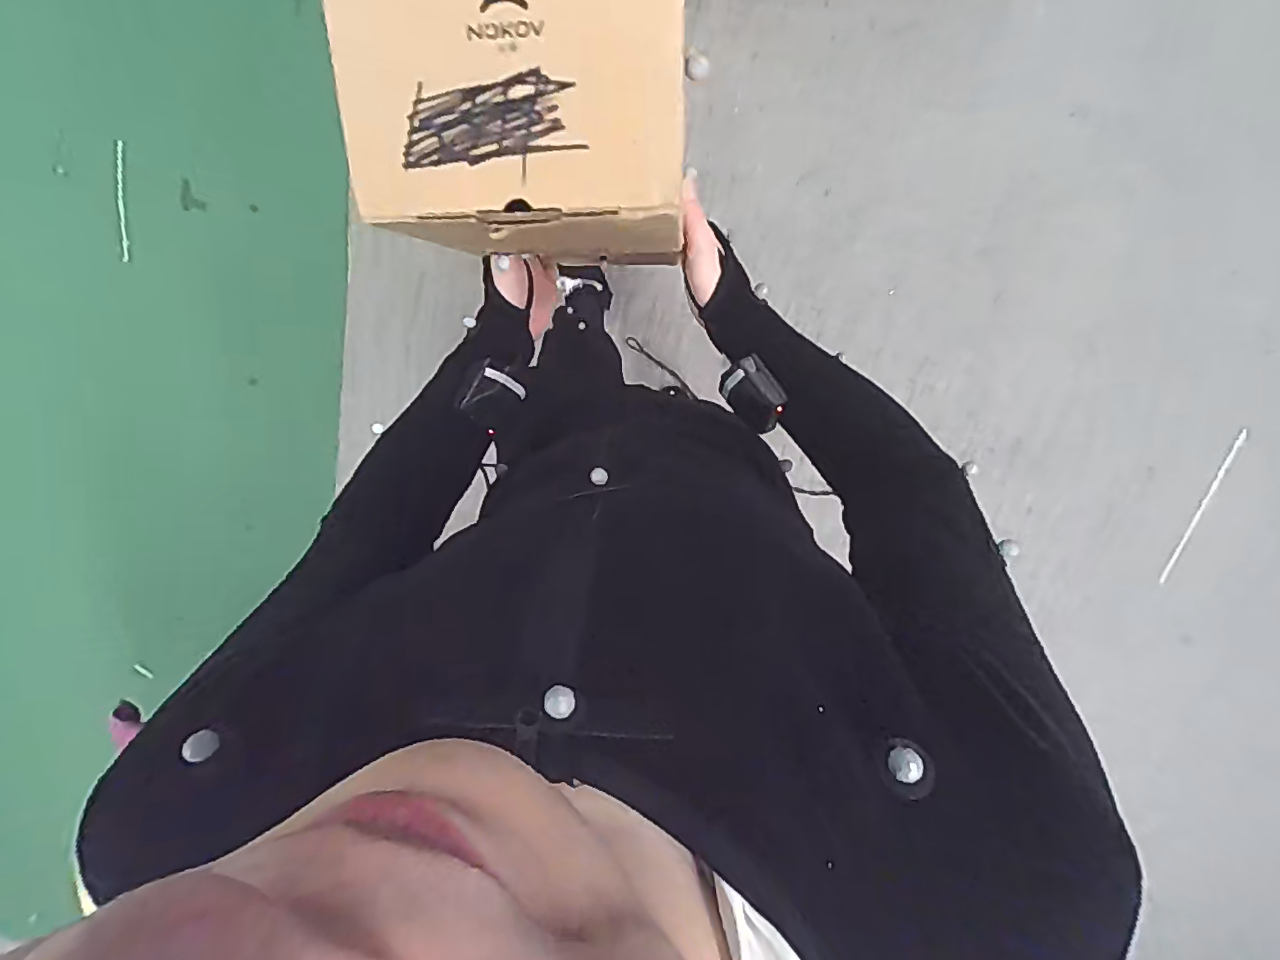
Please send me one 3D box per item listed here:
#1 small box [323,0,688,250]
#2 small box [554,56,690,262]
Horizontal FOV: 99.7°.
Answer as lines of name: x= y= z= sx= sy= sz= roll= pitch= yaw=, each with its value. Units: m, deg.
small box: x=-0.057 y=-0.236 z=0.318 sx=0.168 sy=0.176 sz=0.179 roll=1 pitch=107 yaw=4
small box: x=-0.031 y=-0.355 z=0.624 sx=0.168 sy=0.176 sz=0.179 roll=2 pitch=107 yaw=4
